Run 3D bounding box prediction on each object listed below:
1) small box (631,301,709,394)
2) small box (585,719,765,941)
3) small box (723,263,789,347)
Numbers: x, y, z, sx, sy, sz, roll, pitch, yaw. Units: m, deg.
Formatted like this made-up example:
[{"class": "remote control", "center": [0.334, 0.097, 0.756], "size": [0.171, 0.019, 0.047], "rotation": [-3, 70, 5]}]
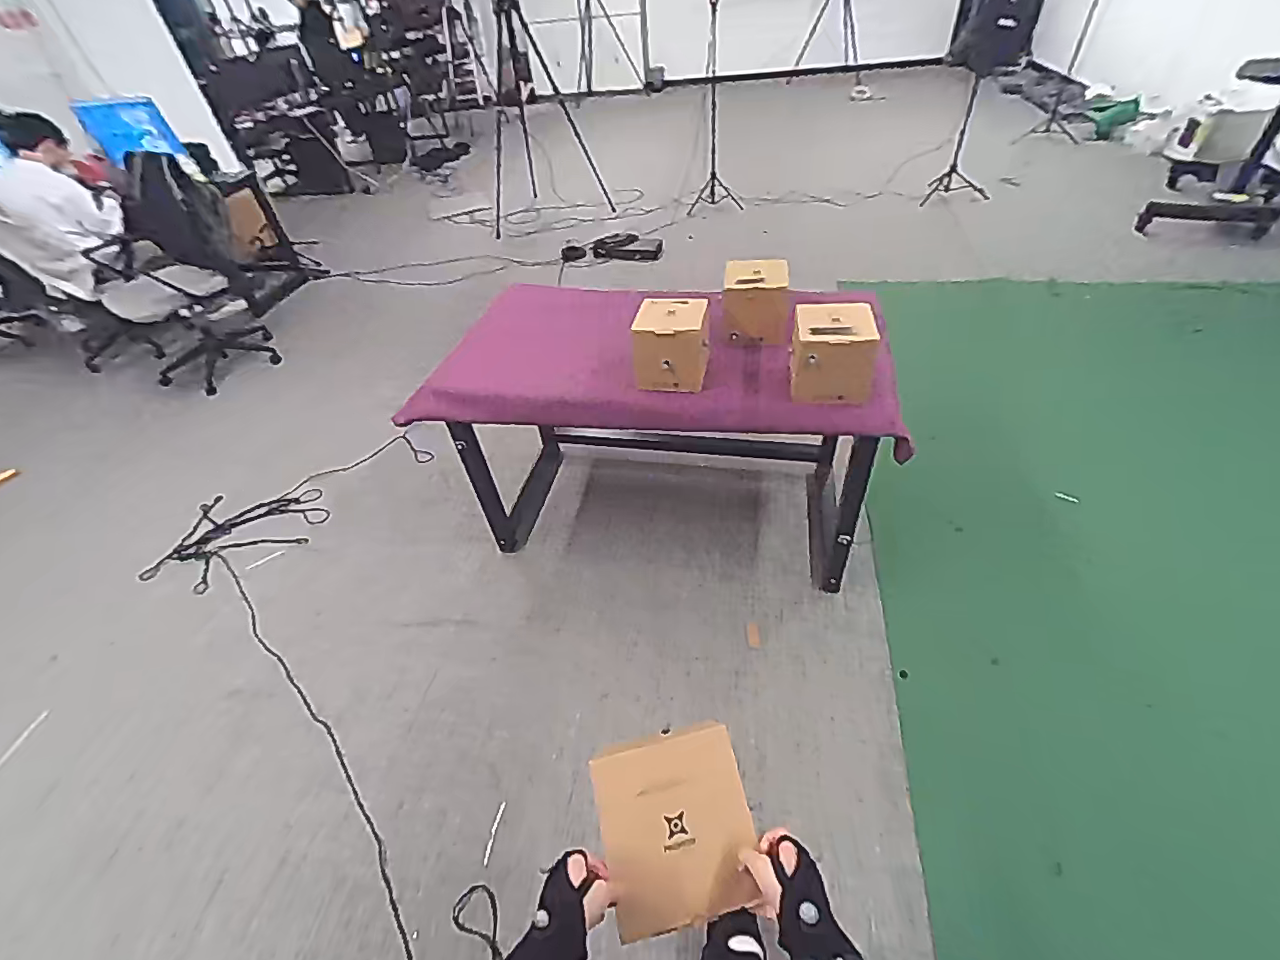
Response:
[{"class": "small box", "center": [0.084, -0.332, 1.358], "size": [0.168, 0.176, 0.179], "rotation": [5, 44, 12]}, {"class": "small box", "center": [0.034, 0.403, 0.658], "size": [0.168, 0.176, 0.179], "rotation": [-11, 69, -6]}, {"class": "small box", "center": [0.317, -0.477, 1.483], "size": [0.168, 0.176, 0.179], "rotation": [3, 43, 10]}]
